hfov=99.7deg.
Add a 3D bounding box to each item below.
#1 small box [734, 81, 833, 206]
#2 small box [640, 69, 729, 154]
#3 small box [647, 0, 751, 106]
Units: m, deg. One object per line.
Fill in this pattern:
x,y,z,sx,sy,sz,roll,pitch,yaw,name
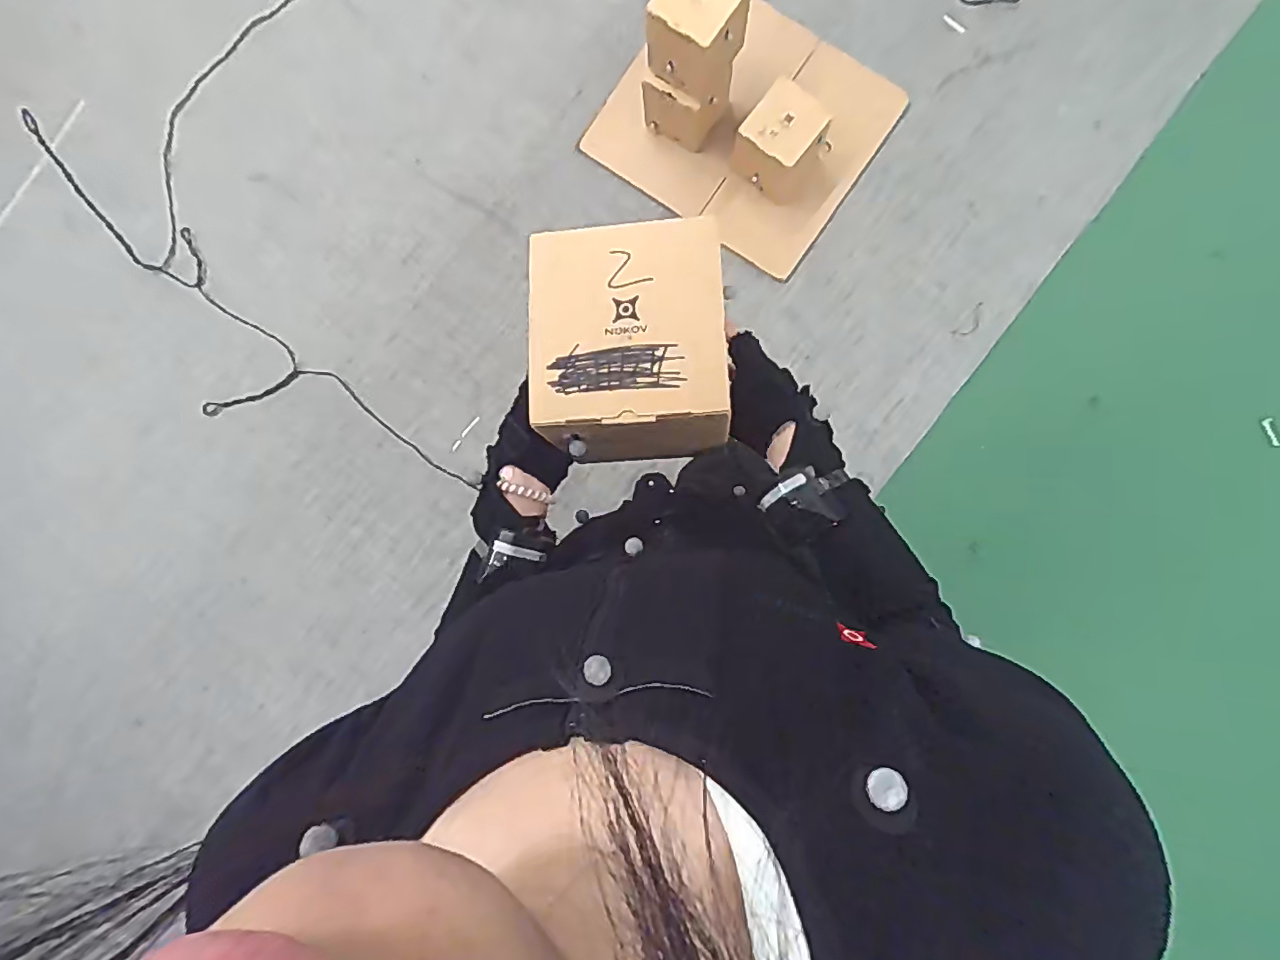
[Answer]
0.358,-0.857,1.393,0.168,0.176,0.179,39,92,5,small box
0.120,-1.002,1.409,0.168,0.176,0.179,32,91,4,small box
0.130,-1.027,1.246,0.168,0.176,0.179,35,91,3,small box
